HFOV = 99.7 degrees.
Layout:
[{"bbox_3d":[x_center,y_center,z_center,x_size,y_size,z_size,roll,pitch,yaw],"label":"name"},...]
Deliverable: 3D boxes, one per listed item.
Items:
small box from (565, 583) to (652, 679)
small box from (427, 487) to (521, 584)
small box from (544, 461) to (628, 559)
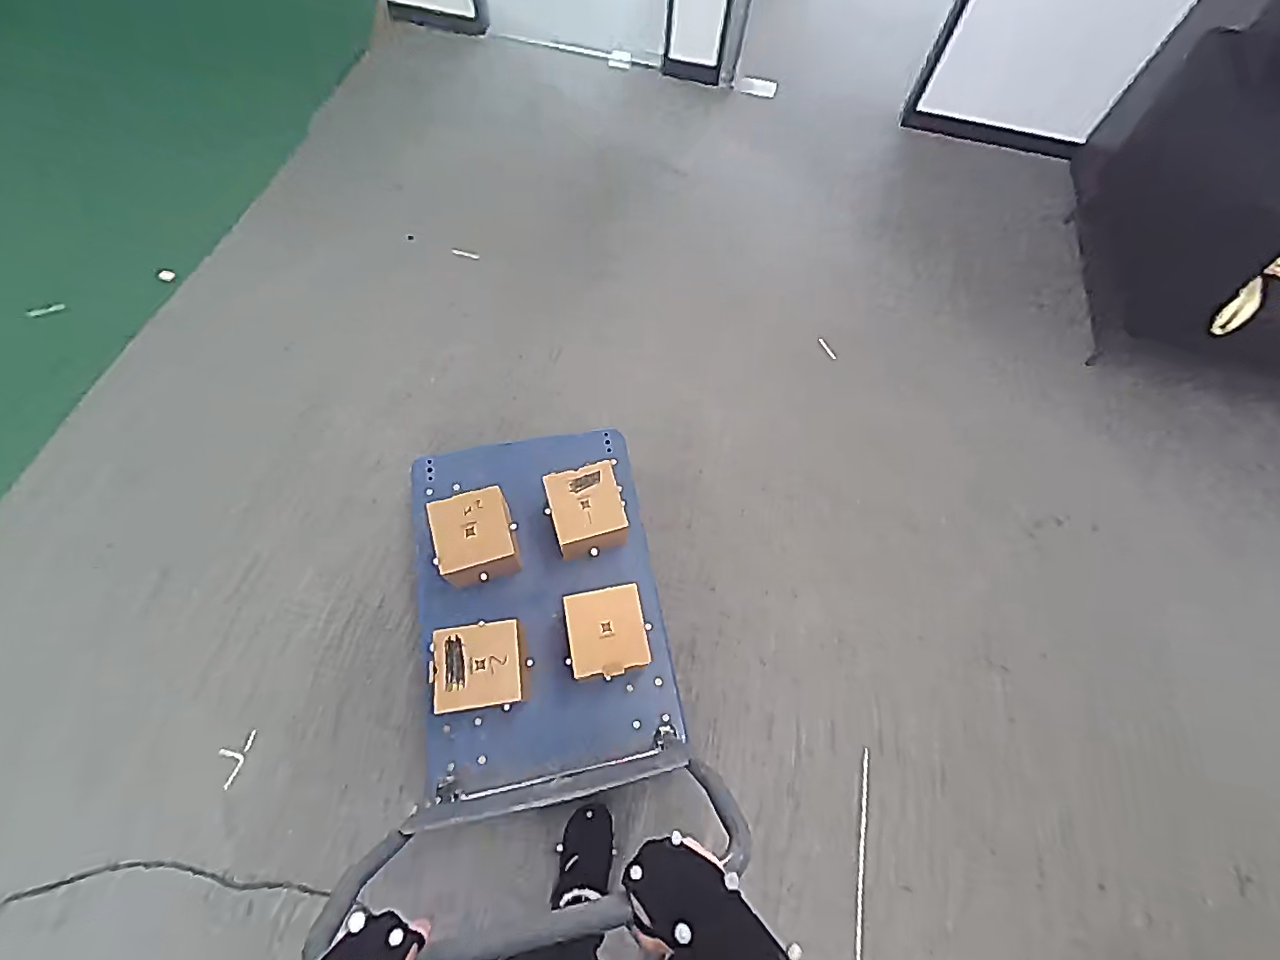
[{"bbox_3d":[-0.076,0.349,1.234,0.168,0.176,0.179,-9,71,-8],"label":"small box"},{"bbox_3d":[-0.389,0.141,1.289,0.168,0.176,0.179,-15,71,-11],"label":"small box"},{"bbox_3d":[-0.134,0.079,1.333,0.168,0.176,0.179,-15,71,-9],"label":"small box"}]
